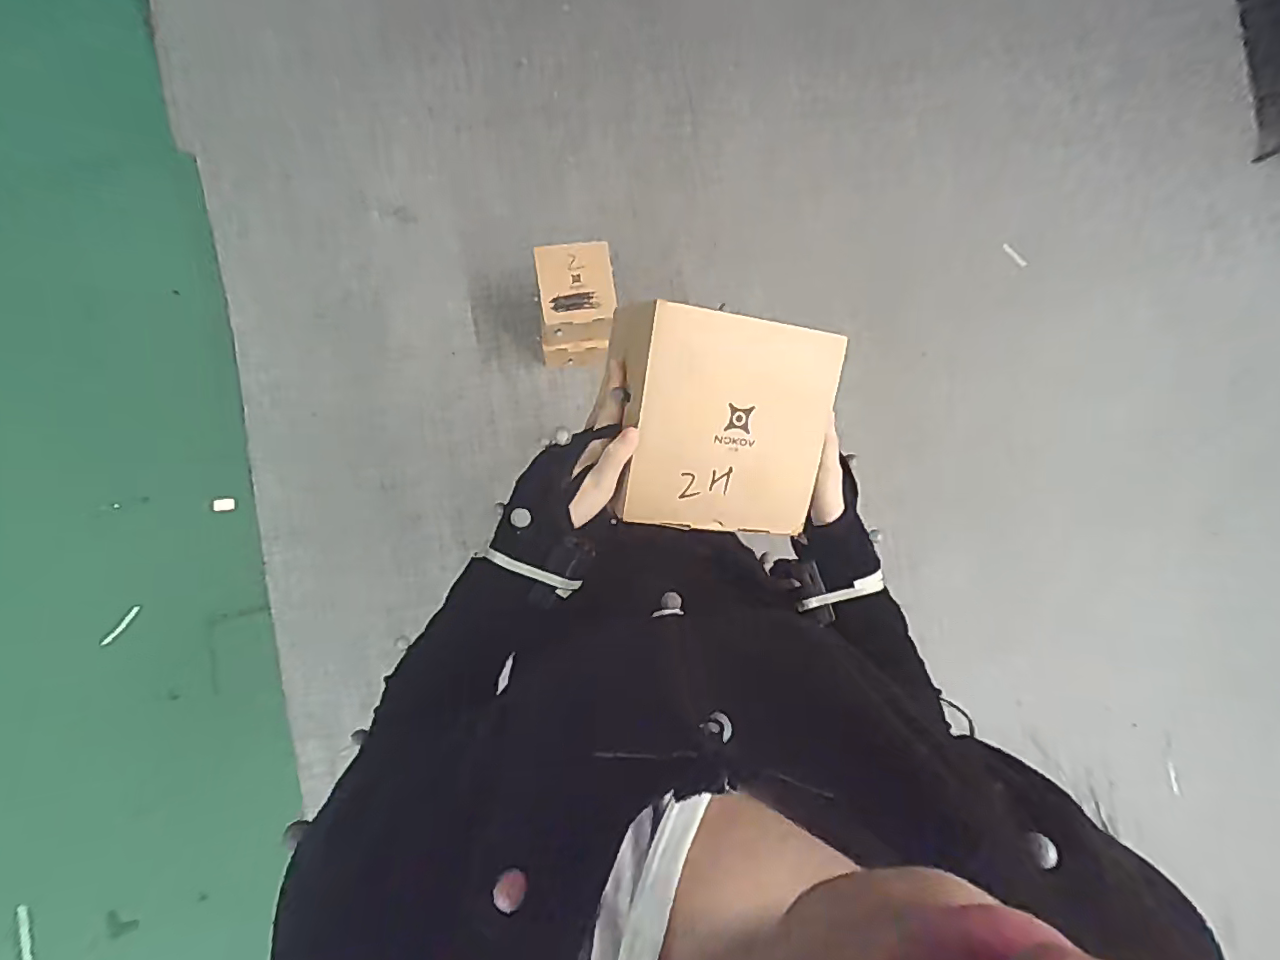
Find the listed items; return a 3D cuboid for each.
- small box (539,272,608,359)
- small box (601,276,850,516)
[{"bbox_3d":[-0.178,-0.428,1.422,0.168,0.176,0.179,-5,90,-9],"label":"small box"},{"bbox_3d":[0.063,-0.079,0.514,0.168,0.176,0.179,6,102,-15],"label":"small box"}]
